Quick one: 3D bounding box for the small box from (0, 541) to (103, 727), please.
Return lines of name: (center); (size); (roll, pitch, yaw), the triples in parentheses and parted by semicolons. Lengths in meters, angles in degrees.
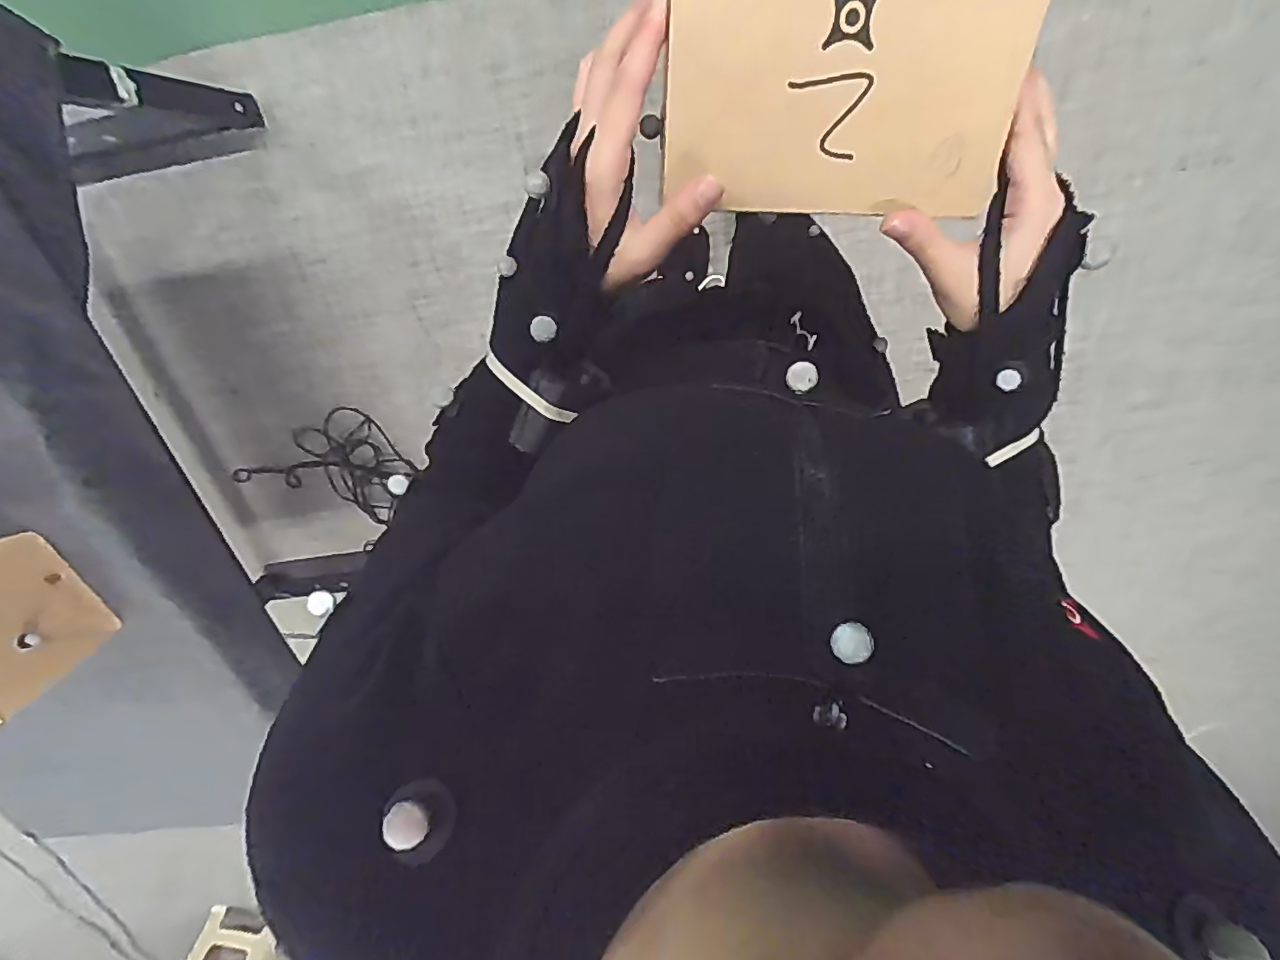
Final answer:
small box: (-0.832, 0.195, 0.662); (0.179, 0.176, 0.168); (-12, 118, 9)
